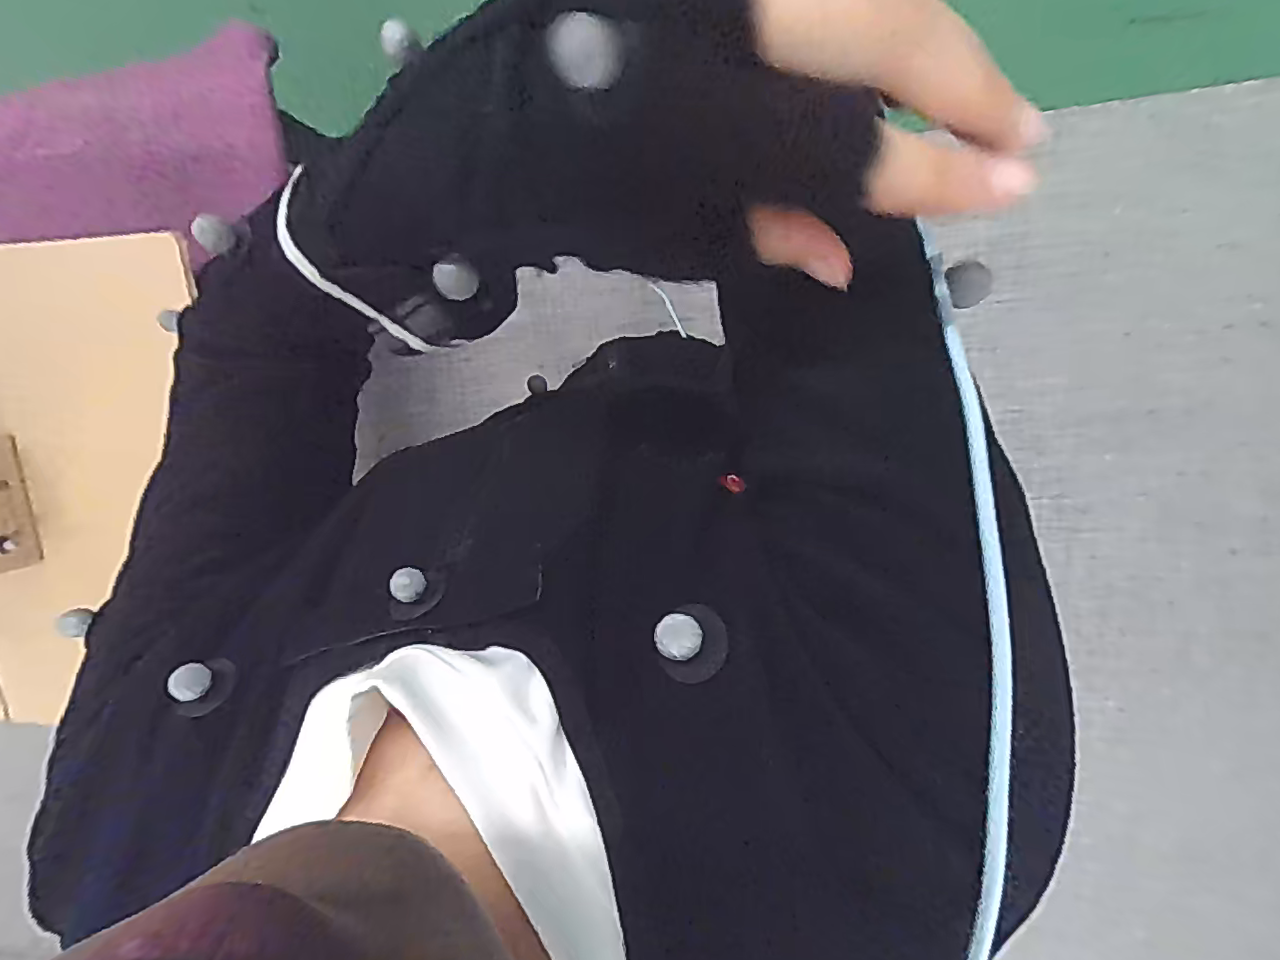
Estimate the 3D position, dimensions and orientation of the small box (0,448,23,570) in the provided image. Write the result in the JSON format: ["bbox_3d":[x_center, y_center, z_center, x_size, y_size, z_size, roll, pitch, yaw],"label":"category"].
[{"bbox_3d":[-0.849,0.044,0.593,0.179,0.176,0.168,-4,101,9],"label":"small box"}]
